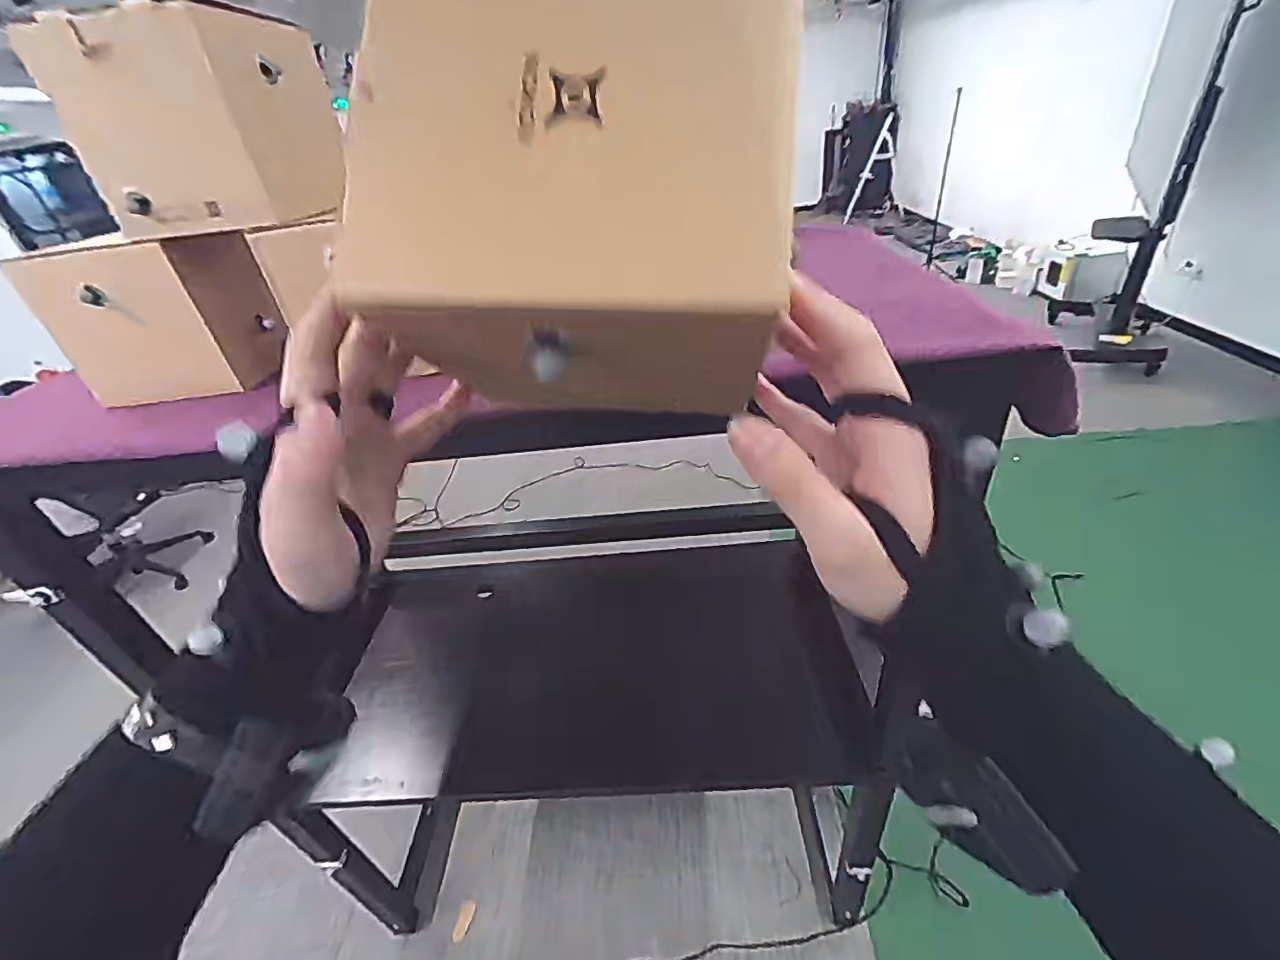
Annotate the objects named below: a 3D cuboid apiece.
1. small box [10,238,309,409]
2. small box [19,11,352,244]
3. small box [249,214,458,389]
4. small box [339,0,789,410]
[{"bbox_3d":[-0.548,-0.196,0.653,0.179,0.176,0.168,-6,35,3],"label":"small box"},{"bbox_3d":[-0.426,-0.346,0.555,0.168,0.176,0.179,-4,33,6],"label":"small box"},{"bbox_3d":[-0.282,-0.214,0.623,0.179,0.176,0.168,-5,34,5],"label":"small box"},{"bbox_3d":[-0.022,-0.138,0.295,0.179,0.168,0.176,3,-6,8],"label":"small box"}]
